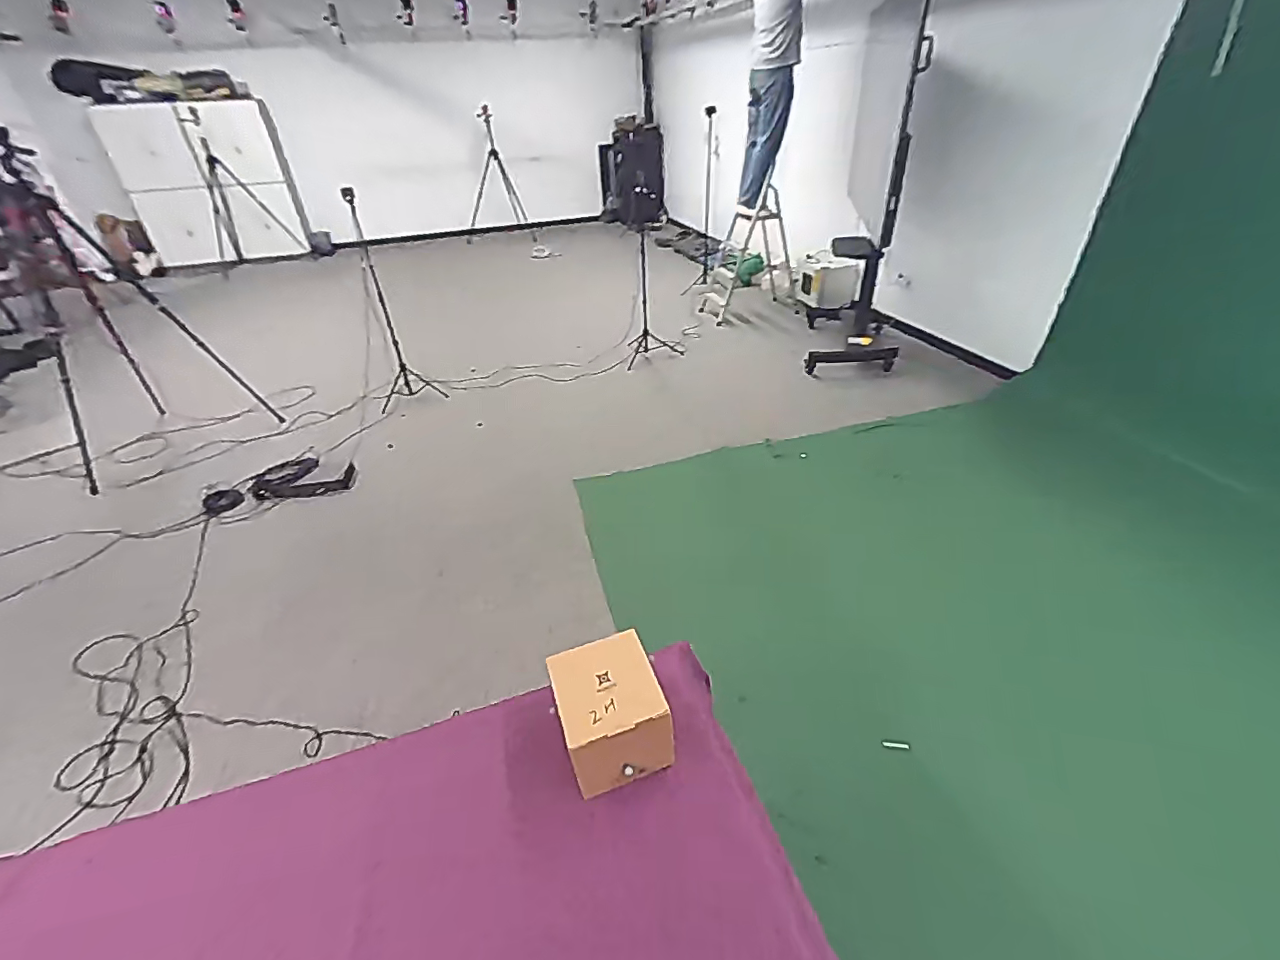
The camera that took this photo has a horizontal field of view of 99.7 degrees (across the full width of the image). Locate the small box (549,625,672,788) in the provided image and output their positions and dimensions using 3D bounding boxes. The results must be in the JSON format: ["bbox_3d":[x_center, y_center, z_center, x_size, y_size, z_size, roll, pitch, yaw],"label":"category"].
[{"bbox_3d":[-0.051,0.394,0.947,0.168,0.176,0.179,-16,39,-12],"label":"small box"}]
